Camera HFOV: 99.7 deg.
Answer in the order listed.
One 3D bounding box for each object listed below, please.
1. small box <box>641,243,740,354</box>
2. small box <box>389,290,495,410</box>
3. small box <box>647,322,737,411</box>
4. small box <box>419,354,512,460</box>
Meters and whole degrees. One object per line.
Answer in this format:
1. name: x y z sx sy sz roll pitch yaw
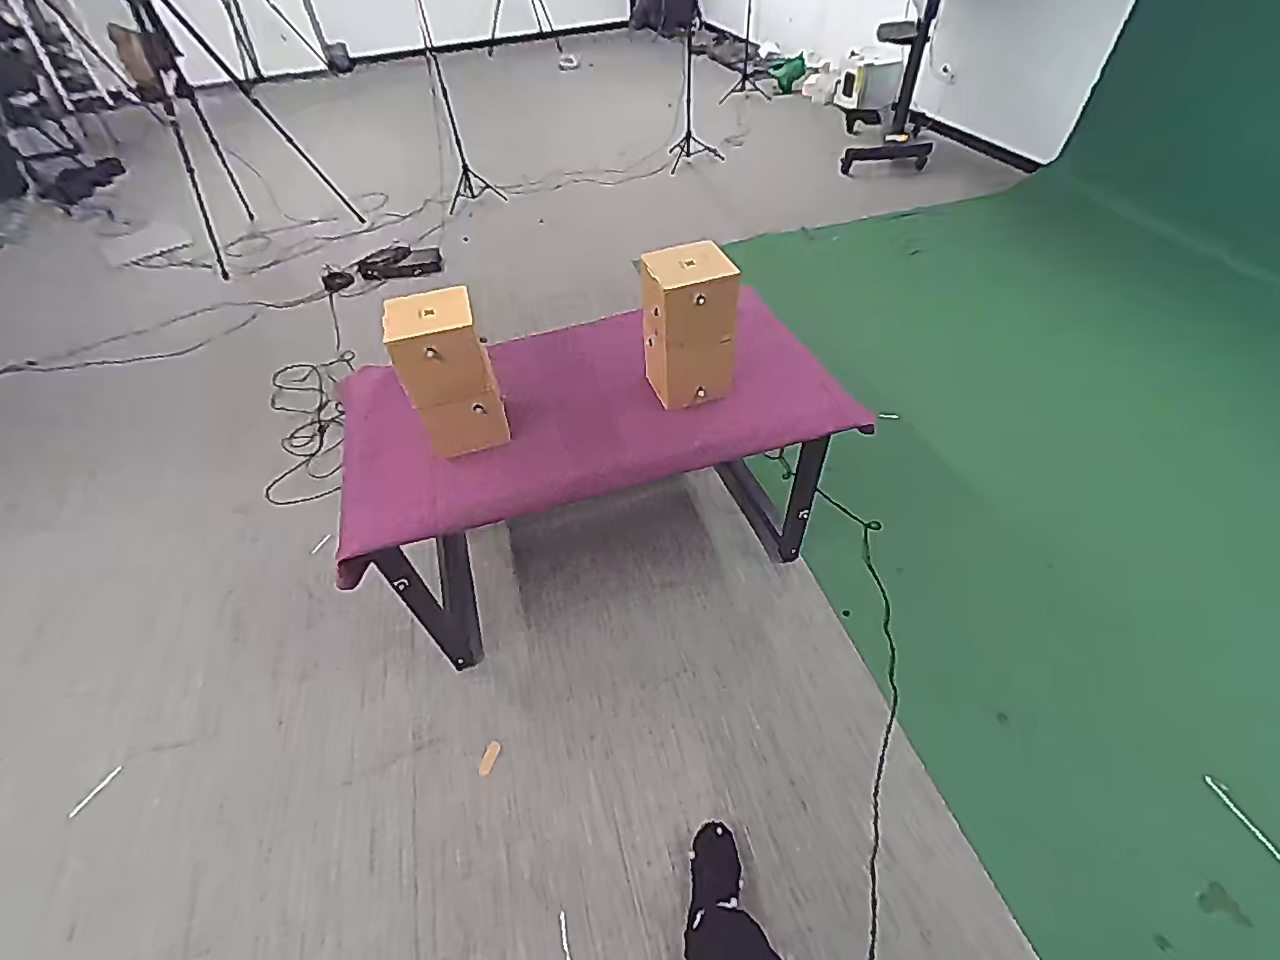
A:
1. small box: 0.114 -0.408 1.230 0.179 0.176 0.168 -16 50 -8
2. small box: -0.421 -0.278 1.167 0.179 0.176 0.168 -16 50 -8
3. small box: 0.126 -0.299 1.351 0.179 0.176 0.168 -16 49 -9
4. small box: -0.411 -0.173 1.290 0.179 0.176 0.168 -15 49 -8
